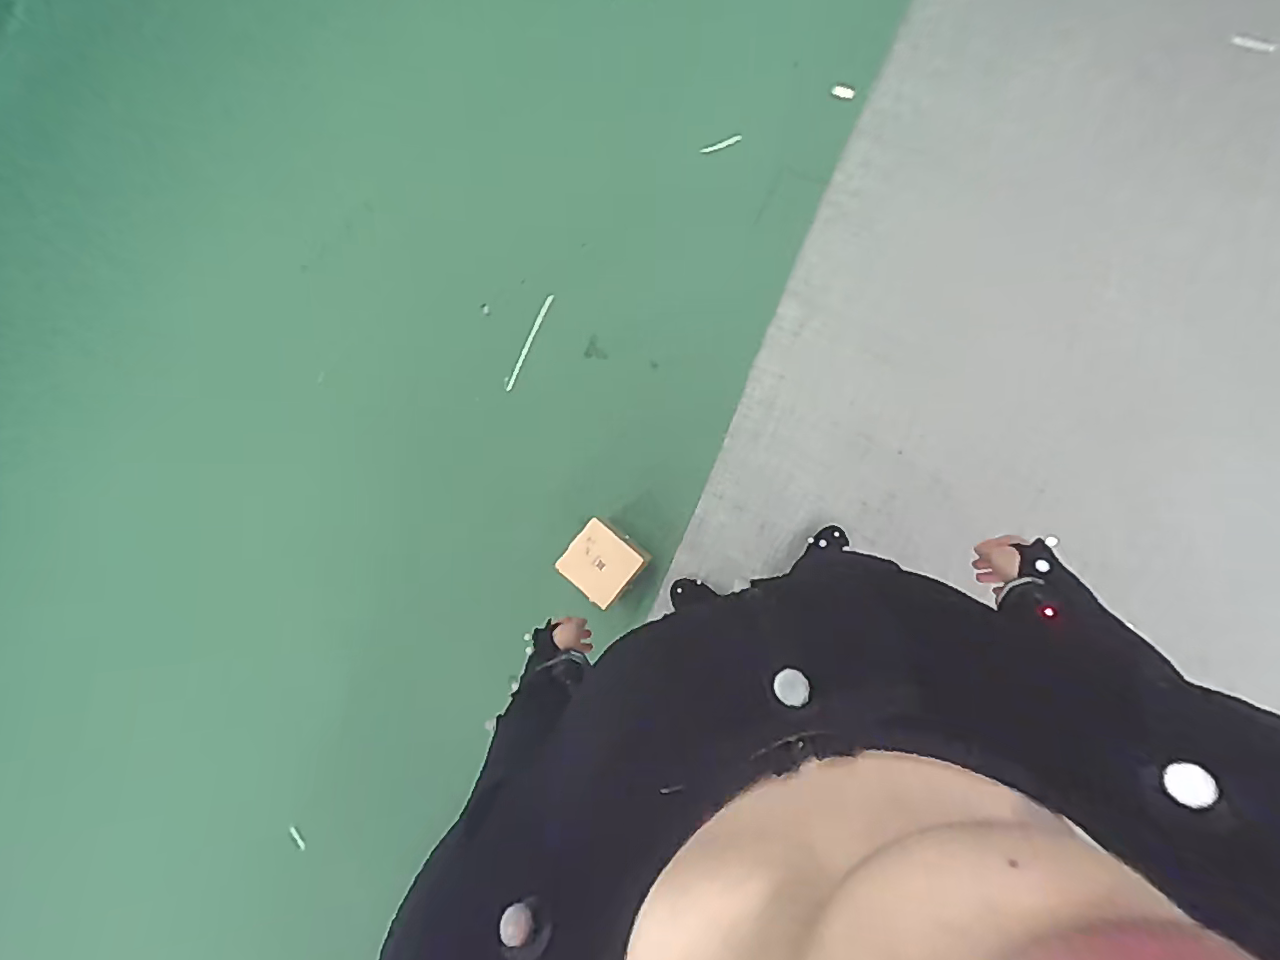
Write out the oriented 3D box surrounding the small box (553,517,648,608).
[{"bbox_3d":[-0.095,0.213,1.439,0.179,0.176,0.168,39,90,10],"label":"small box"}]
